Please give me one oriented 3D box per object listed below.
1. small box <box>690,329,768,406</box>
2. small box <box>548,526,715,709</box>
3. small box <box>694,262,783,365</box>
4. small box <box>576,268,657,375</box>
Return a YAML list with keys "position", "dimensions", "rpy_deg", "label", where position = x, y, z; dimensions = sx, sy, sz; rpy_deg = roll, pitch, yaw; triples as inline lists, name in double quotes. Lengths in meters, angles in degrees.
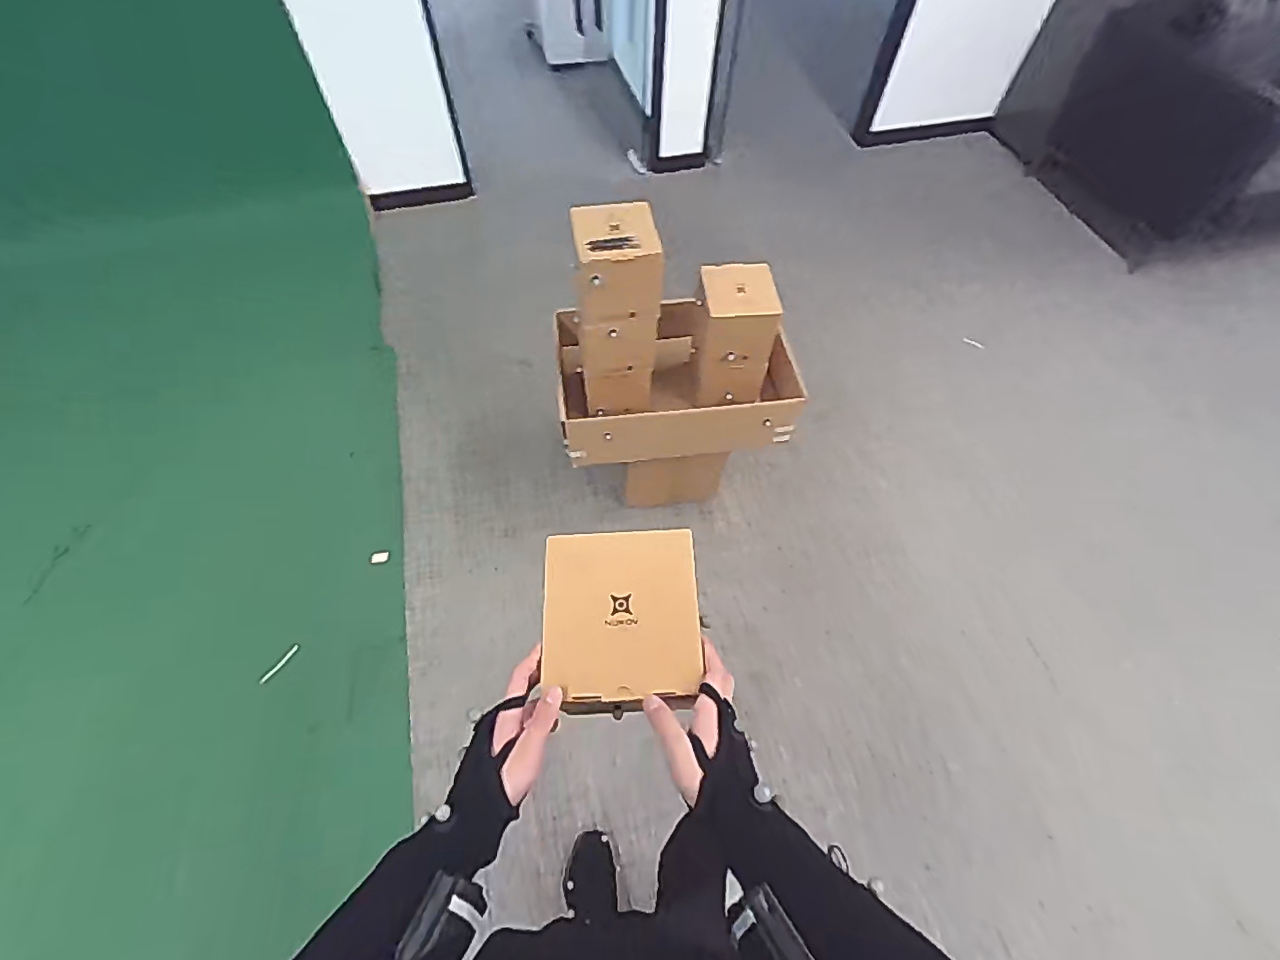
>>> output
- position: [0.230, -0.319, 1.452]
  dimensions: [0.168, 0.176, 0.179]
  rpy_deg: [-3, 60, -3]
  label: "small box"
- position: [-0.010, 0.166, 0.633]
  dimensions: [0.168, 0.176, 0.179]
  rpy_deg: [-2, 64, 0]
  label: "small box"
- position: [0.230, -0.401, 1.311]
  dimensions: [0.168, 0.176, 0.179]
  rpy_deg: [-4, 59, -4]
  label: "small box"
- position: [-0.059, -0.374, 1.285]
  dimensions: [0.168, 0.176, 0.179]
  rpy_deg: [-9, 60, -7]
  label: "small box"
